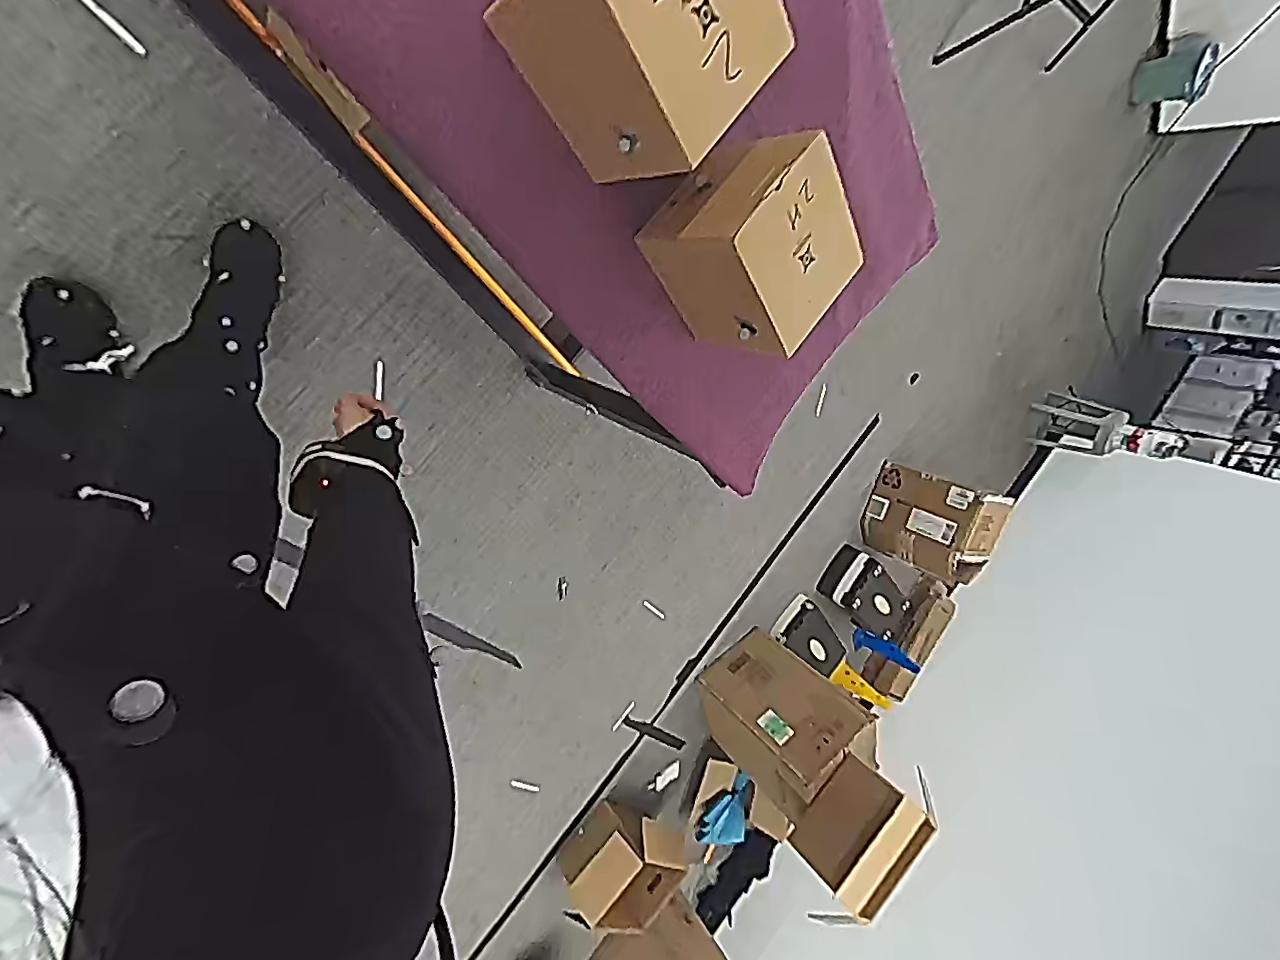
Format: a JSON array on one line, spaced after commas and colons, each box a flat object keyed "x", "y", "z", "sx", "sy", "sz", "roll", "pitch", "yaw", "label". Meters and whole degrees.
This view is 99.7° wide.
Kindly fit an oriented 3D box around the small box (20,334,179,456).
[{"x": -0.887, "y": -0.141, "z": 0.899, "sx": 0.179, "sy": 0.176, "sz": 0.168, "roll": -1, "pitch": 108, "yaw": -42, "label": "small box"}]
